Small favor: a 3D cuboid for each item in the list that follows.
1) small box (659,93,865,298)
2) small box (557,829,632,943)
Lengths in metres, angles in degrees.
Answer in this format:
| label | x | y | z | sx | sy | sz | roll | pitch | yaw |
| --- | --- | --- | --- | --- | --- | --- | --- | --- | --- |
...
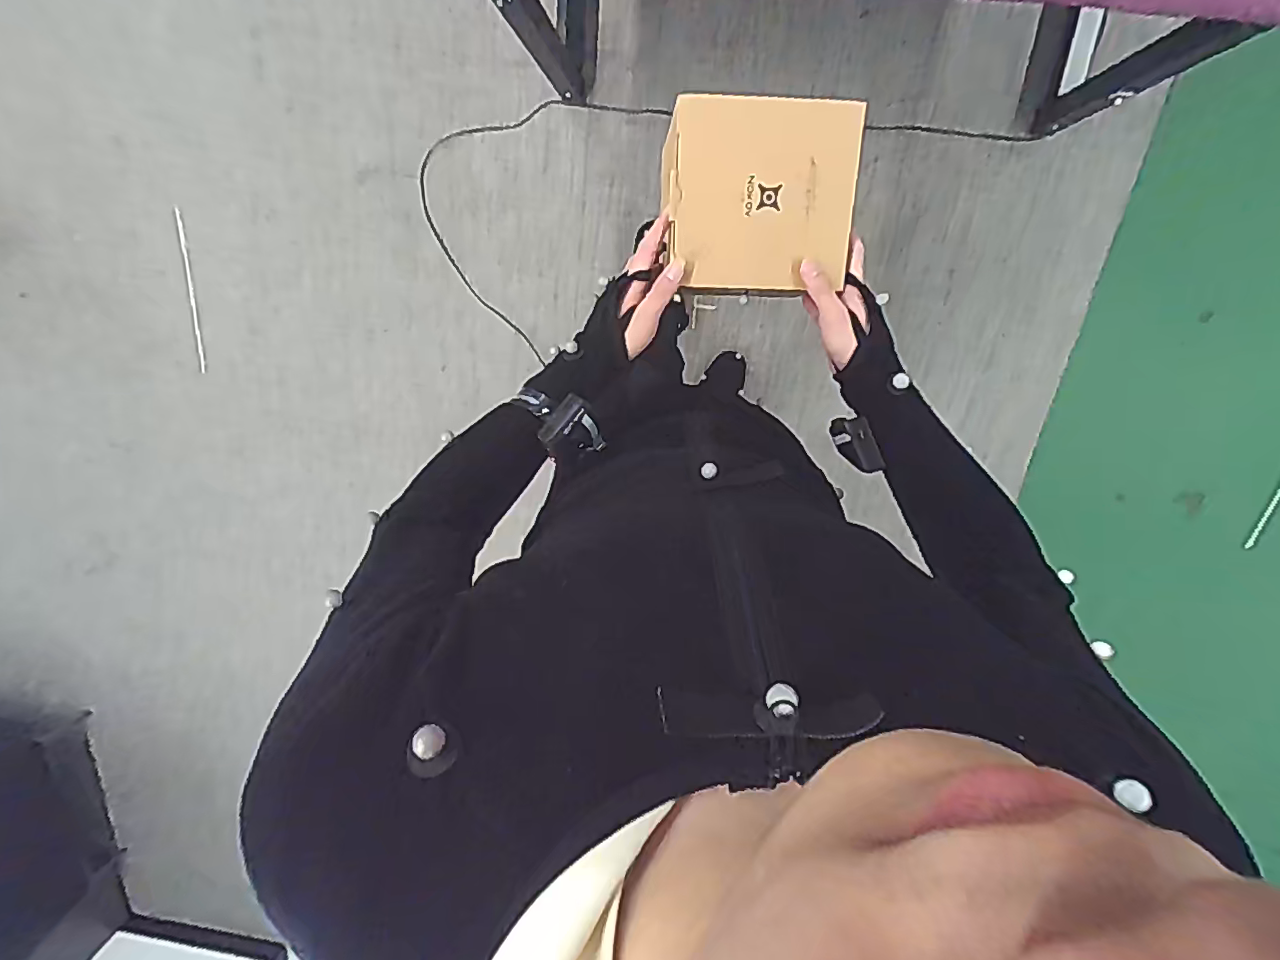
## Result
| label | x | y | z | sx | sy | sz | roll | pitch | yaw |
| --- | --- | --- | --- | --- | --- | --- | --- | --- | --- |
| small box | 0.114 | -0.290 | 0.587 | 0.179 | 0.176 | 0.168 | 1 | 106 | -2 |
| small box | -0.122 | 1.132 | 1.517 | 0.168 | 0.176 | 0.179 | 11 | 108 | 5 |
